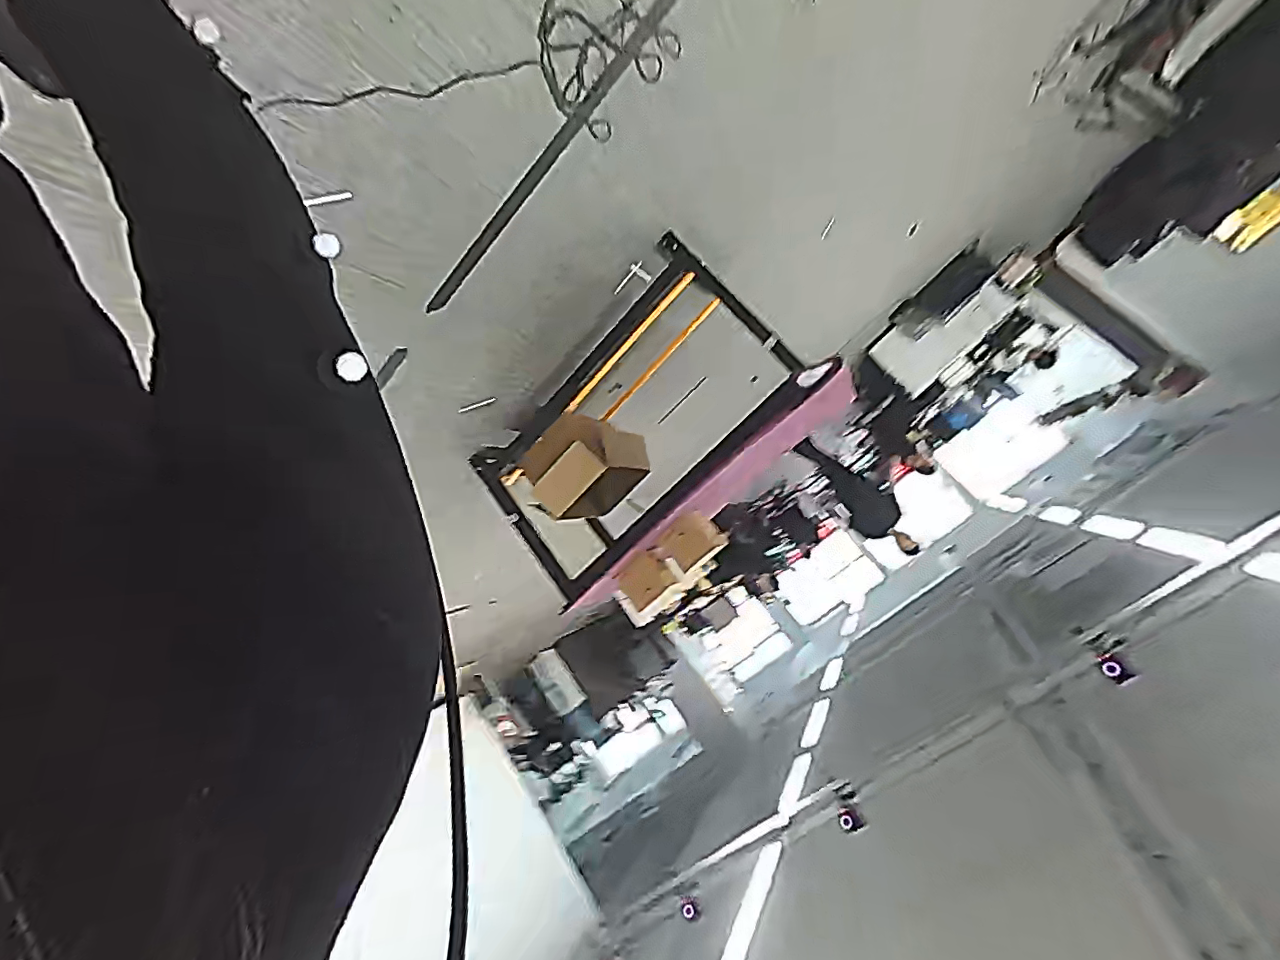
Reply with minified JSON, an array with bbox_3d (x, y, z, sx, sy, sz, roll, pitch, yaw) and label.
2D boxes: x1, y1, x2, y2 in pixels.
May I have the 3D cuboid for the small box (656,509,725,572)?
[{"bbox_3d":[0.191,0.223,2.040,0.168,0.176,0.179,-45,163,15],"label":"small box"}]

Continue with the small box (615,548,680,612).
[{"bbox_3d":[0.023,0.383,2.106,0.179,0.176,0.168,-44,164,13],"label":"small box"}]
